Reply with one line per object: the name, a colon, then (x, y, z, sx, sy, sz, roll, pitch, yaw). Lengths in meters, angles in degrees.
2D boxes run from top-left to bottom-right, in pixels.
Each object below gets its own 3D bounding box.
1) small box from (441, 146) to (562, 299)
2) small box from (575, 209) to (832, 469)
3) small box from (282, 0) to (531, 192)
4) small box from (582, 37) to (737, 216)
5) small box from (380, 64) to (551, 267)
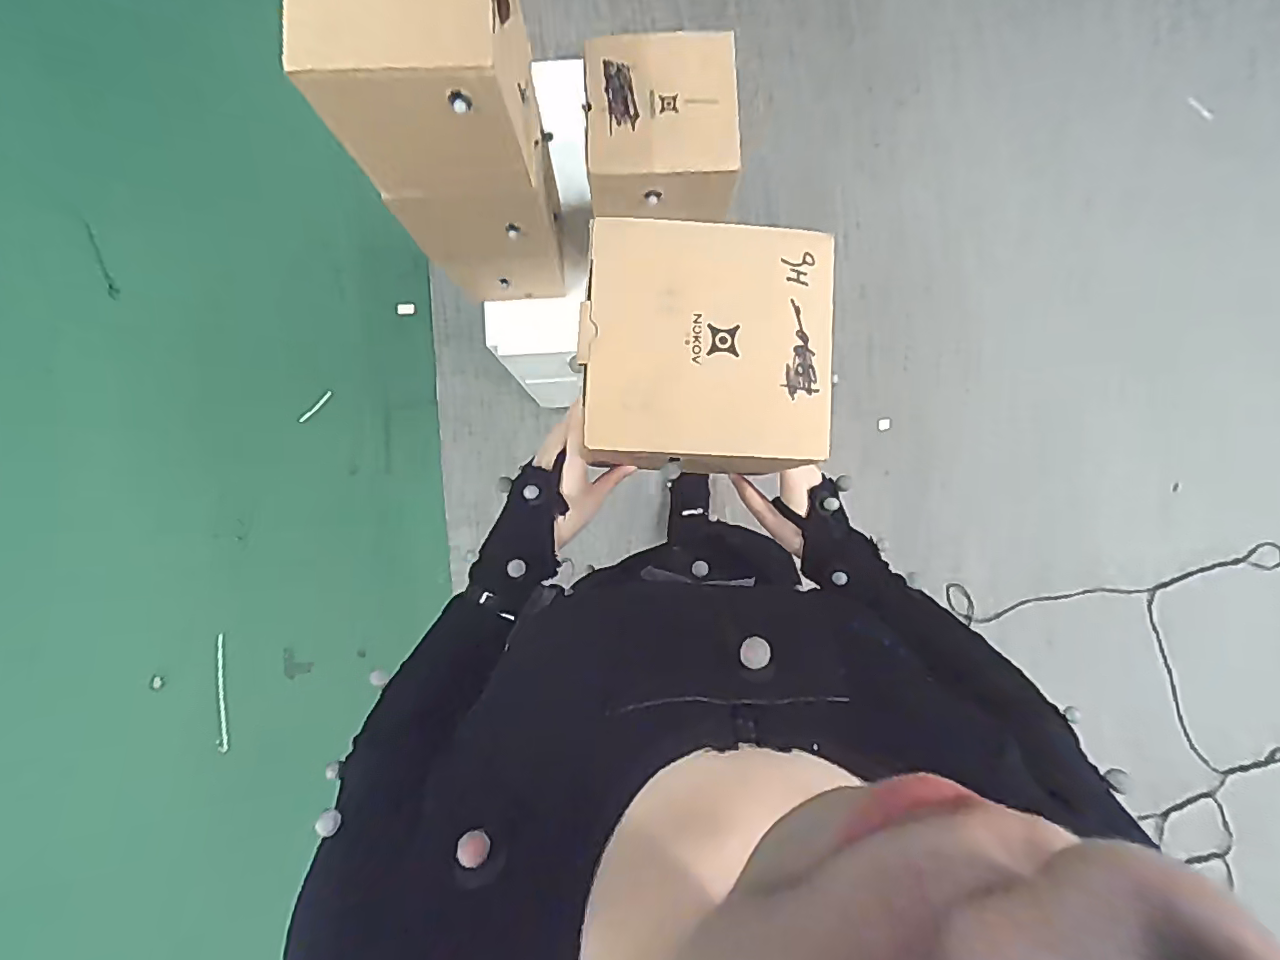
small box: (-0.216, -0.396, 0.854, 0.168, 0.176, 0.179, -3, 87, -3)
small box: (0.043, -0.099, 0.455, 0.179, 0.176, 0.168, 3, 87, -3)
small box: (-0.209, -0.406, 0.528, 0.179, 0.176, 0.168, -2, 86, -2)
small box: (0.023, -0.417, 0.693, 0.179, 0.176, 0.168, -2, 87, 0)
small box: (-0.211, -0.390, 0.691, 0.179, 0.176, 0.168, -4, 86, -1)
